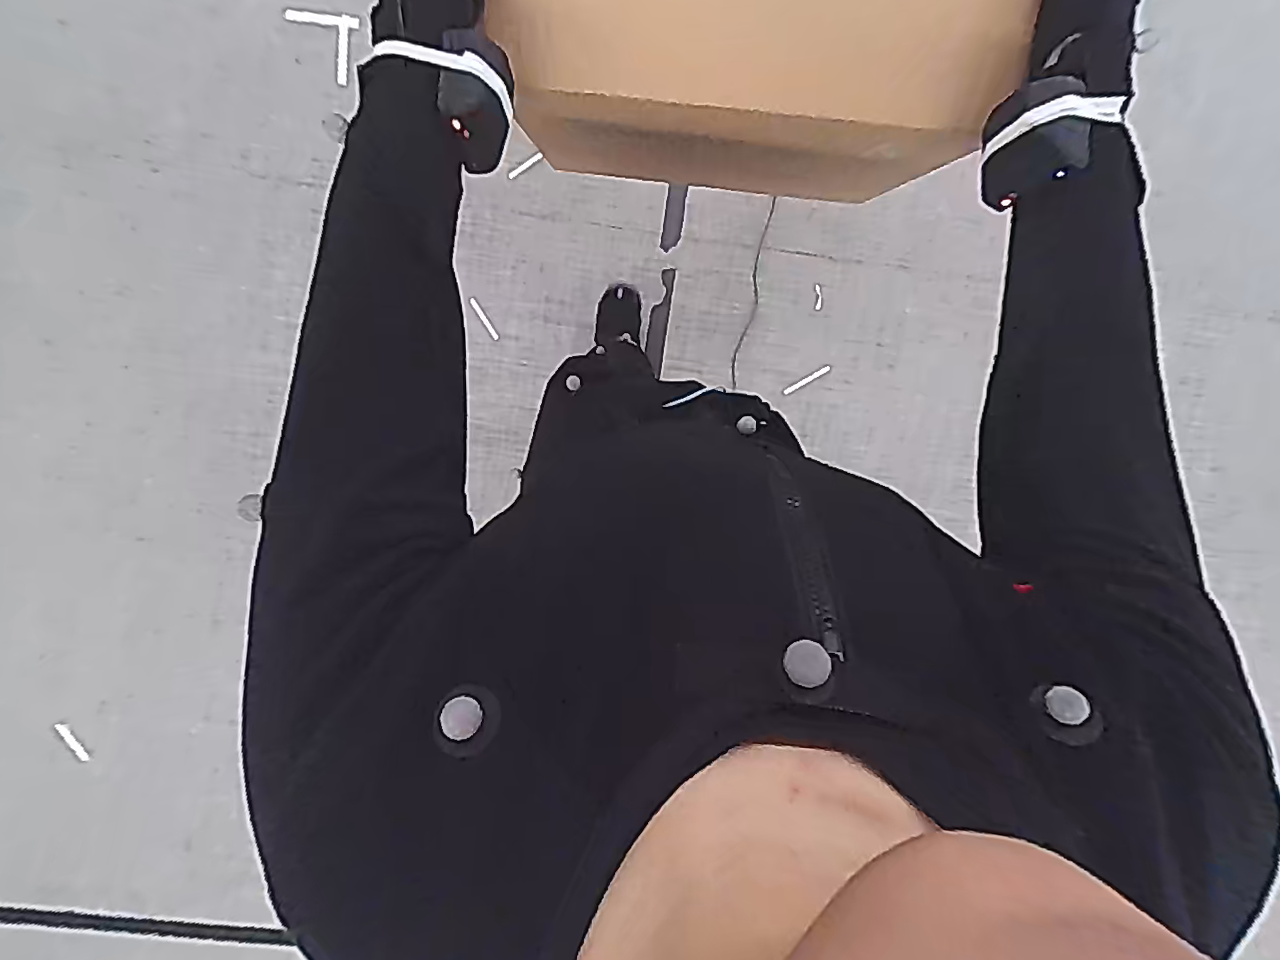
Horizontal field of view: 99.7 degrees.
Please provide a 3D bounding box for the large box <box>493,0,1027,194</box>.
[{"bbox_3d":[0.096,-0.485,0.515,0.408,0.320,0.320,5,109,-1],"label":"large box"}]
